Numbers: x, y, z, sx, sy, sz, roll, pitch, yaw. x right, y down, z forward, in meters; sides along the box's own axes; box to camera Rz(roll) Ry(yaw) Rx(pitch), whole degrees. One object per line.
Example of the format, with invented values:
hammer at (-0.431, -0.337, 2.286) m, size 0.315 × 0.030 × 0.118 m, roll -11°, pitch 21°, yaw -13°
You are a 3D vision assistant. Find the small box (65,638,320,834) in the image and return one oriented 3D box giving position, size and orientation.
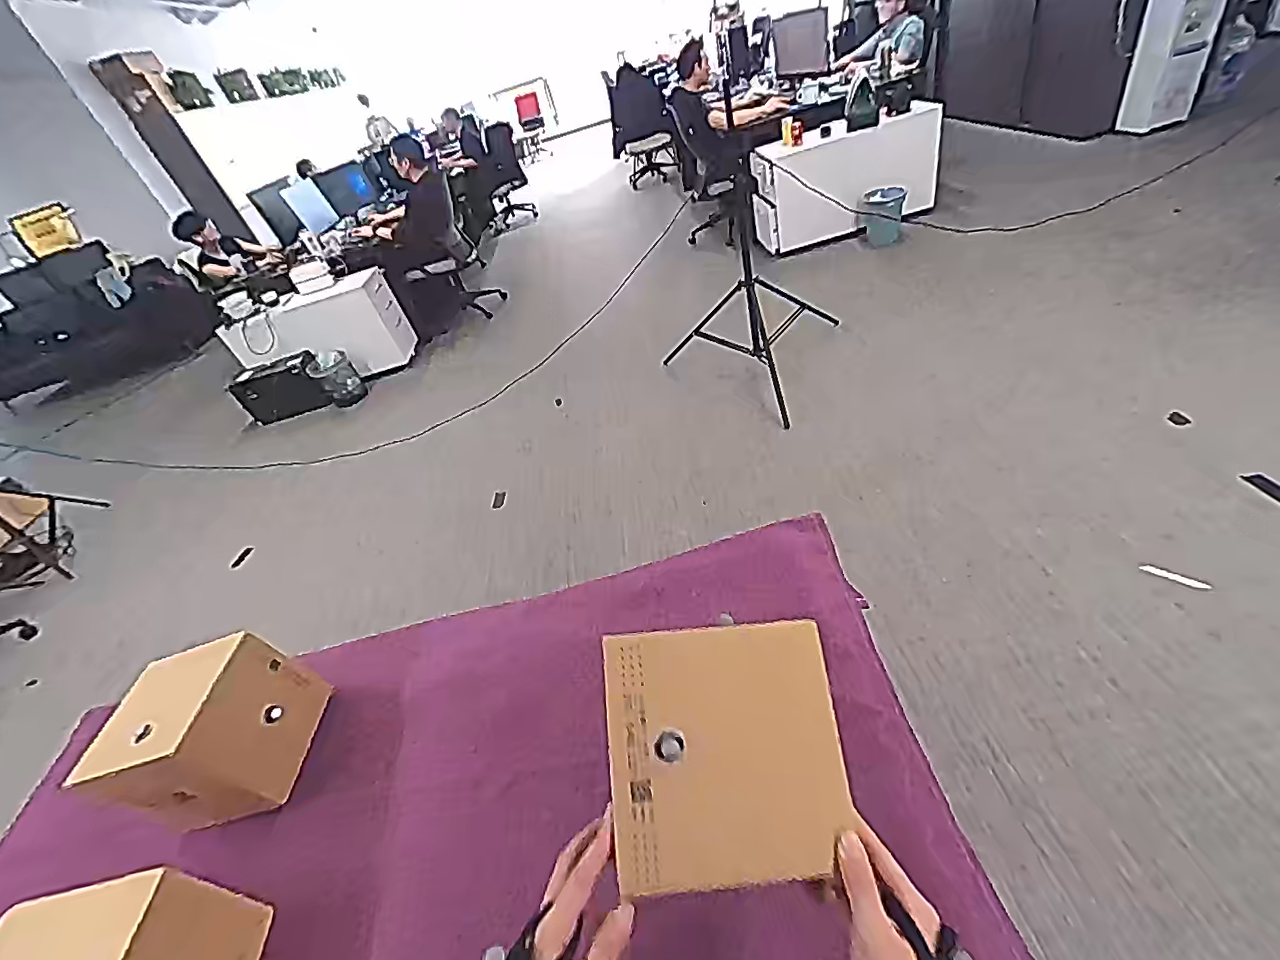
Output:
small box at (-0.567, 0.337, 0.722) m, size 0.179 × 0.168 × 0.176 m, roll -19°, pitch 37°, yaw 11°

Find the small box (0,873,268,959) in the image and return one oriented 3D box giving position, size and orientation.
small box at (-0.509, 0.510, 0.515) m, size 0.179 × 0.176 × 0.168 m, roll -16°, pitch 38°, yaw 3°
